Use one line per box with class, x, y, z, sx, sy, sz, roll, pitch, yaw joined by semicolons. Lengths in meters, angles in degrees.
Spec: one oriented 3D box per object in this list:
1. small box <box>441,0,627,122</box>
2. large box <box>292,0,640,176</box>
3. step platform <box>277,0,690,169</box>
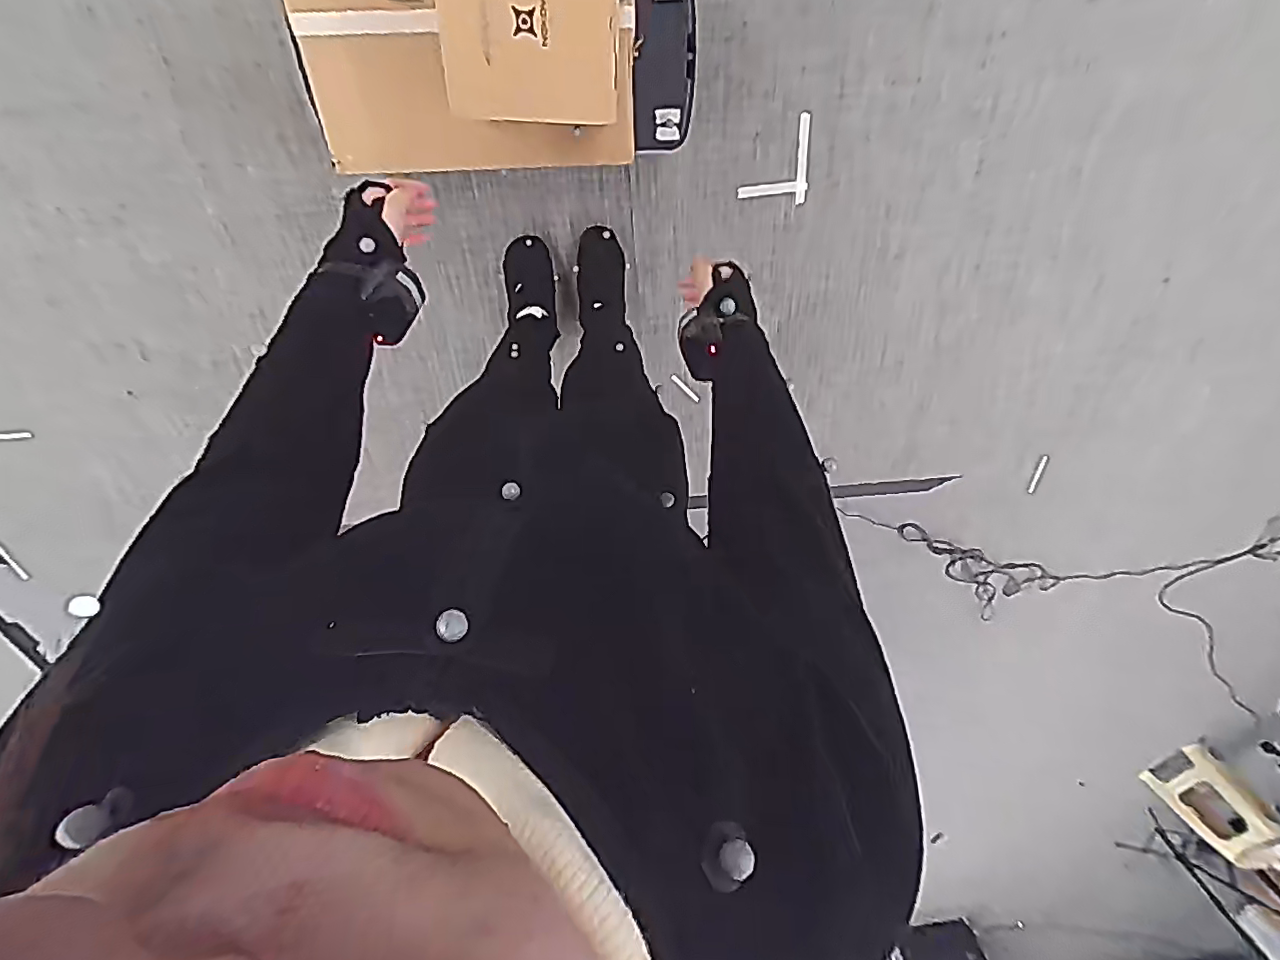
small box;-0.106;-0.489;0.579;0.179;0.176;0.168;-1;124;-5
large box;-0.214;-0.631;0.768;0.408;0.320;0.320;-4;123;-2
step platform;-0.252;-0.746;0.975;0.684;0.204;0.286;1;123;-6
